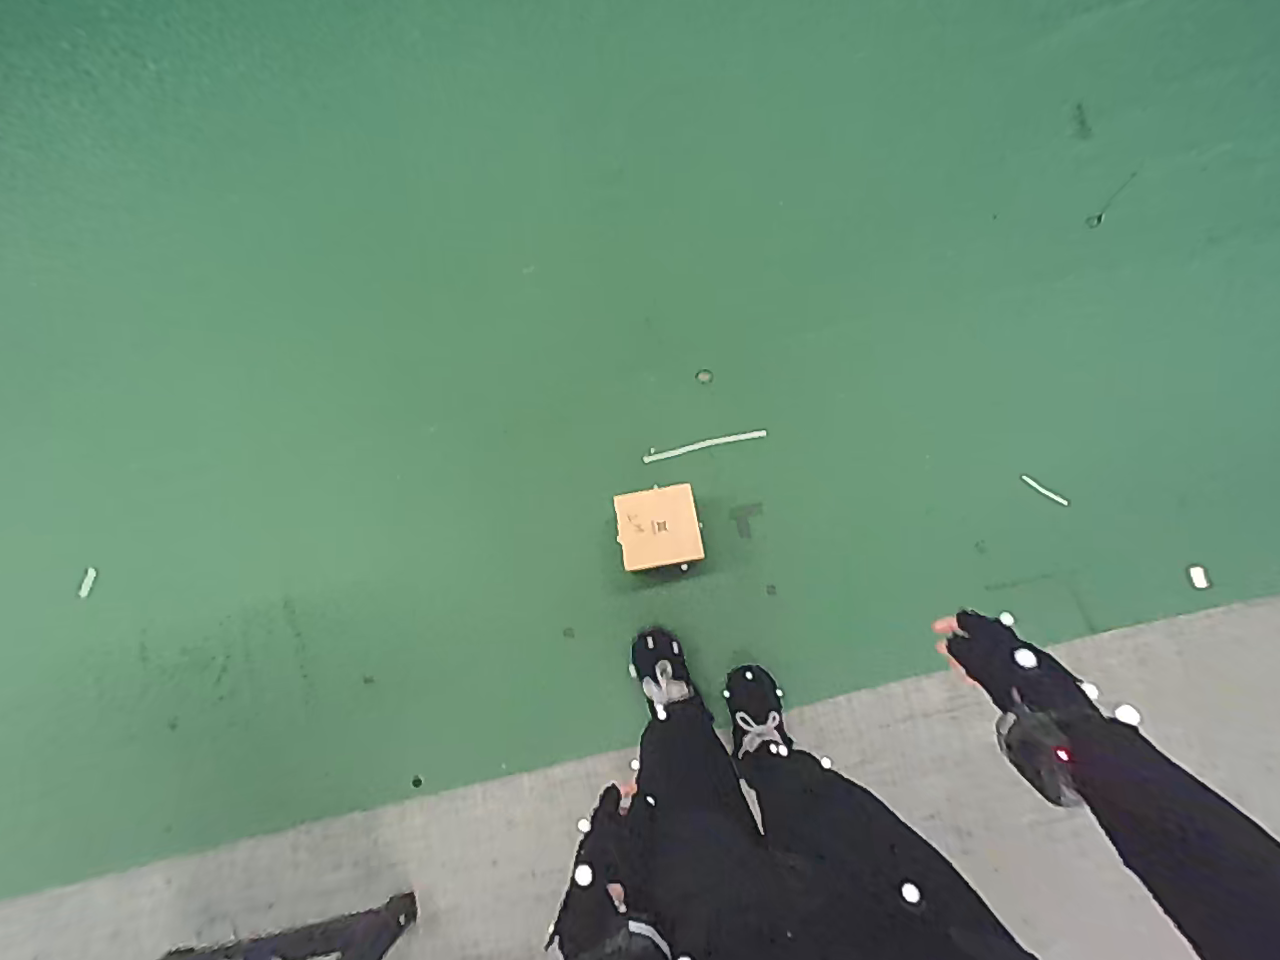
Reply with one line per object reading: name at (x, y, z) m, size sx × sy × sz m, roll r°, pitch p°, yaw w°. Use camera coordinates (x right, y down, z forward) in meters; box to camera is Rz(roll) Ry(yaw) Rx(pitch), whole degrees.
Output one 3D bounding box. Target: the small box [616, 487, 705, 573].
small box at (0.047, 0.121, 1.252) m, size 0.179 × 0.176 × 0.168 m, roll -10°, pitch 78°, yaw 2°
